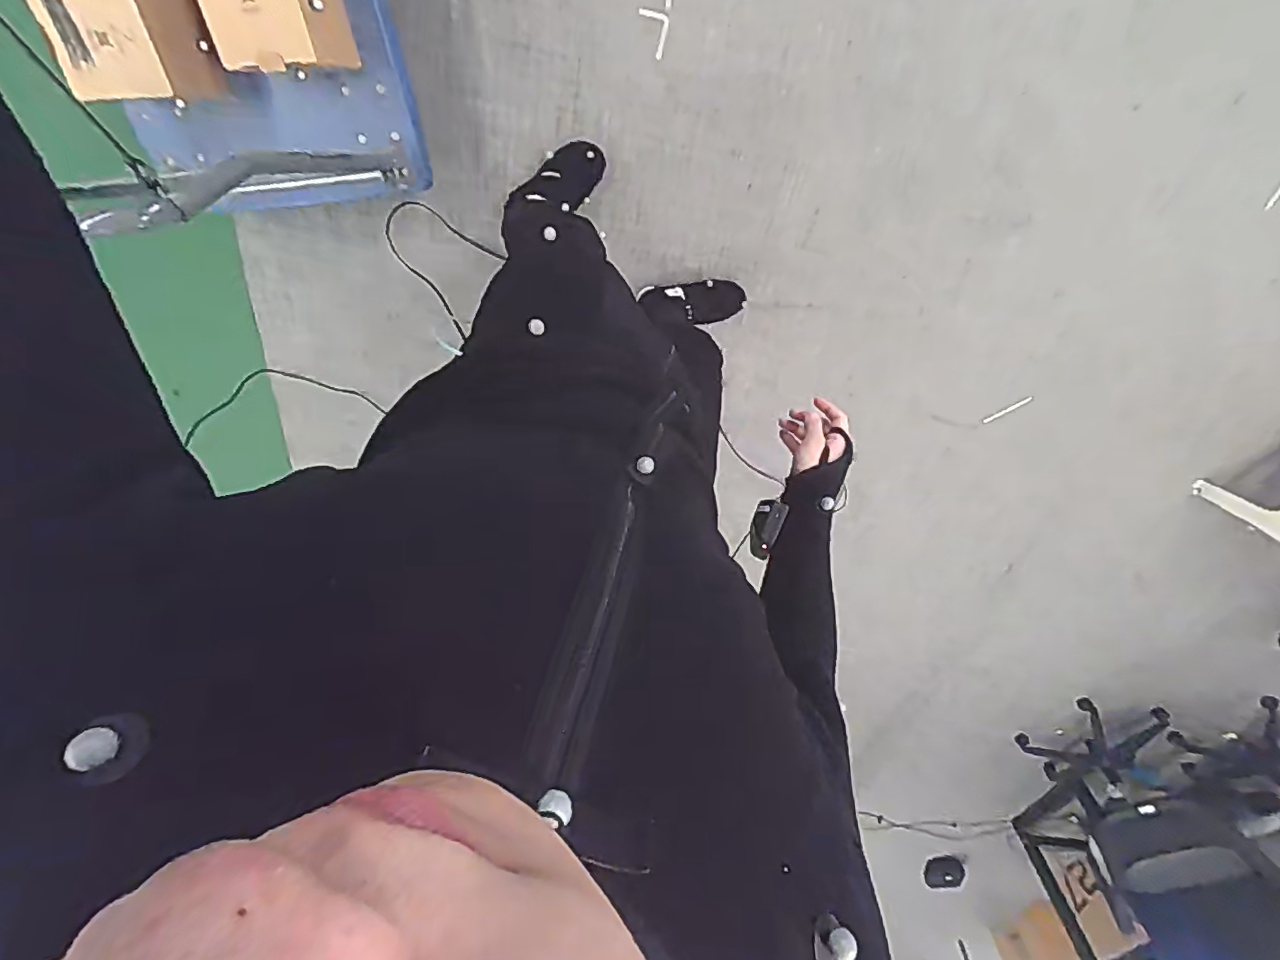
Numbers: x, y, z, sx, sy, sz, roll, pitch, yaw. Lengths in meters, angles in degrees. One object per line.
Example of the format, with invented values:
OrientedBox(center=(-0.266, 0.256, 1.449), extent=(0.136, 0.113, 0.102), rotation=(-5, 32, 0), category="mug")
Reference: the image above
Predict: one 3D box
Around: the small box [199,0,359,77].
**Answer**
OrientedBox(center=(-0.623, -0.813, 0.930), extent=(0.168, 0.176, 0.179), rotation=(-4, 125, 3), category="small box")
